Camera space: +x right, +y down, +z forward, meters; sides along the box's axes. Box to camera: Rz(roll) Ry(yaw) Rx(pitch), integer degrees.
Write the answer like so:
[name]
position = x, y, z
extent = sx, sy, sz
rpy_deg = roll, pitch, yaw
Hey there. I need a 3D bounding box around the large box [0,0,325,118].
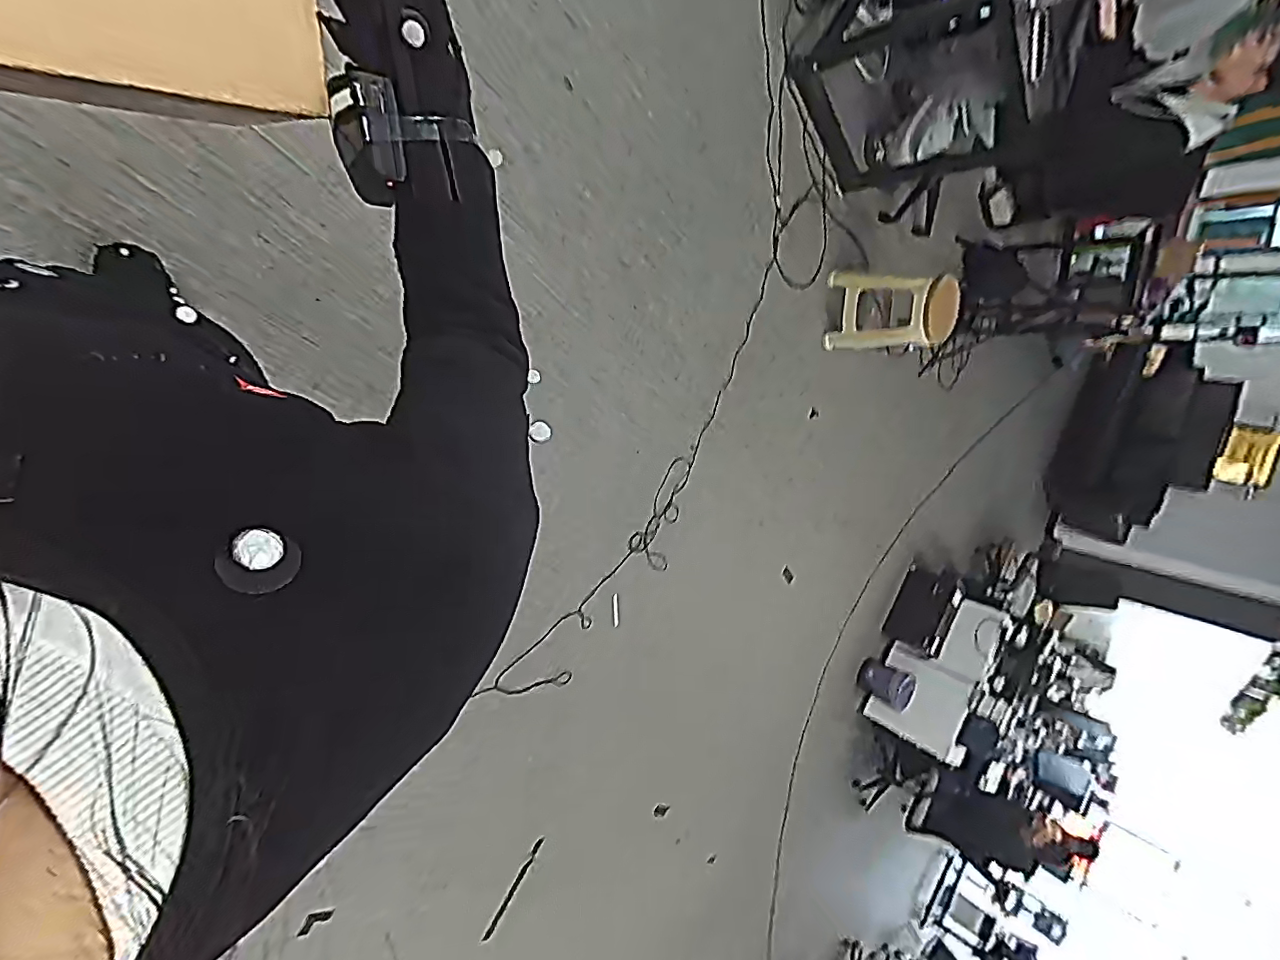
[large box]
position = -0.438, -0.383, 0.255
extent = 0.408, 0.320, 0.320
rpy_deg = -19, 127, -38
